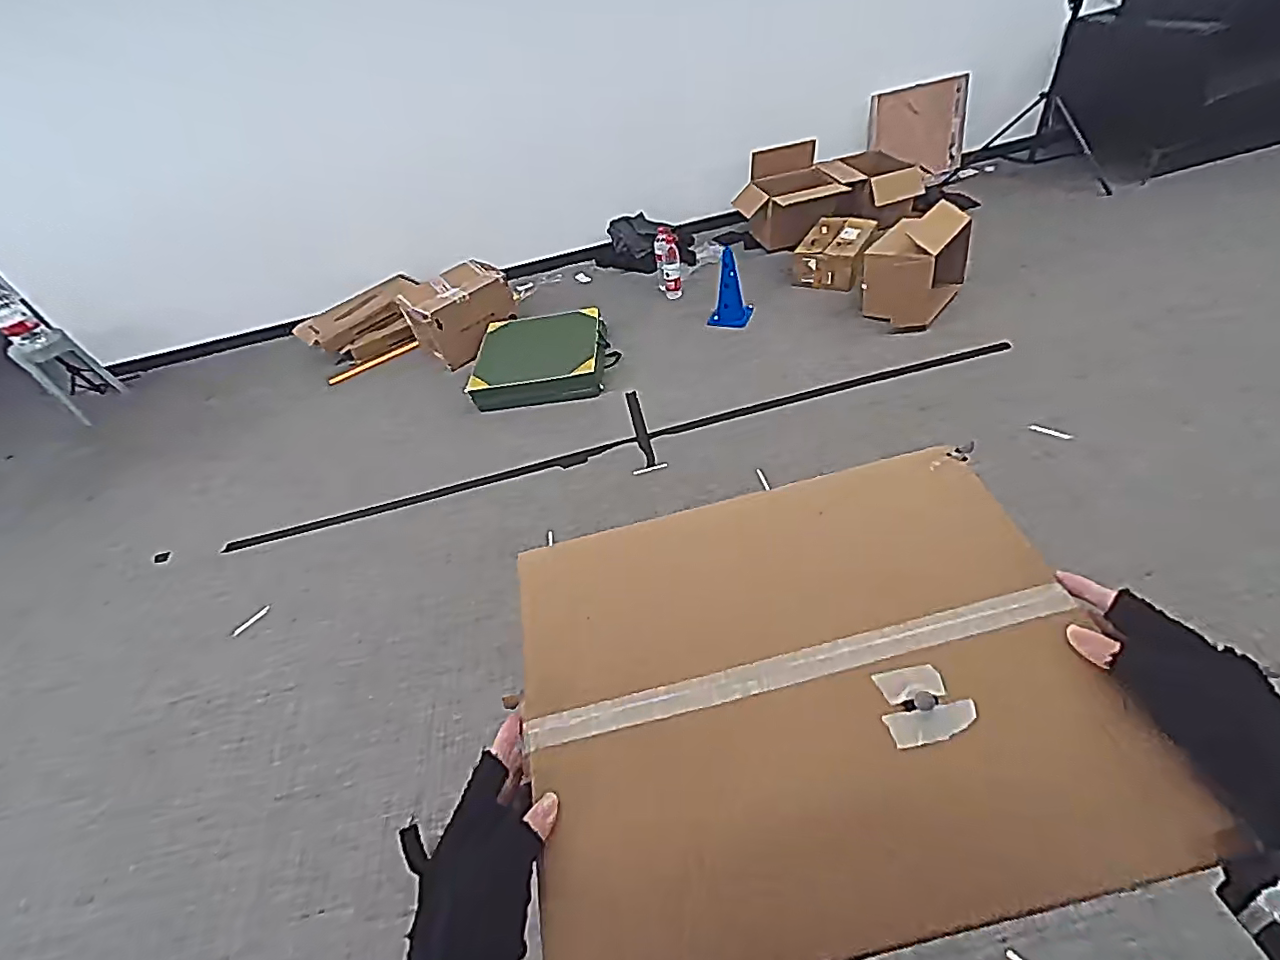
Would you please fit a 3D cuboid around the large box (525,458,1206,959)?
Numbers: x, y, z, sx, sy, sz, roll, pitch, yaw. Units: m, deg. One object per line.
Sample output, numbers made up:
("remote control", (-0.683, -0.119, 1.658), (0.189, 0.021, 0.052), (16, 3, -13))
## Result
("large box", (0.136, 0.233, 0.523), (0.408, 0.320, 0.320), (-14, 52, -1))
